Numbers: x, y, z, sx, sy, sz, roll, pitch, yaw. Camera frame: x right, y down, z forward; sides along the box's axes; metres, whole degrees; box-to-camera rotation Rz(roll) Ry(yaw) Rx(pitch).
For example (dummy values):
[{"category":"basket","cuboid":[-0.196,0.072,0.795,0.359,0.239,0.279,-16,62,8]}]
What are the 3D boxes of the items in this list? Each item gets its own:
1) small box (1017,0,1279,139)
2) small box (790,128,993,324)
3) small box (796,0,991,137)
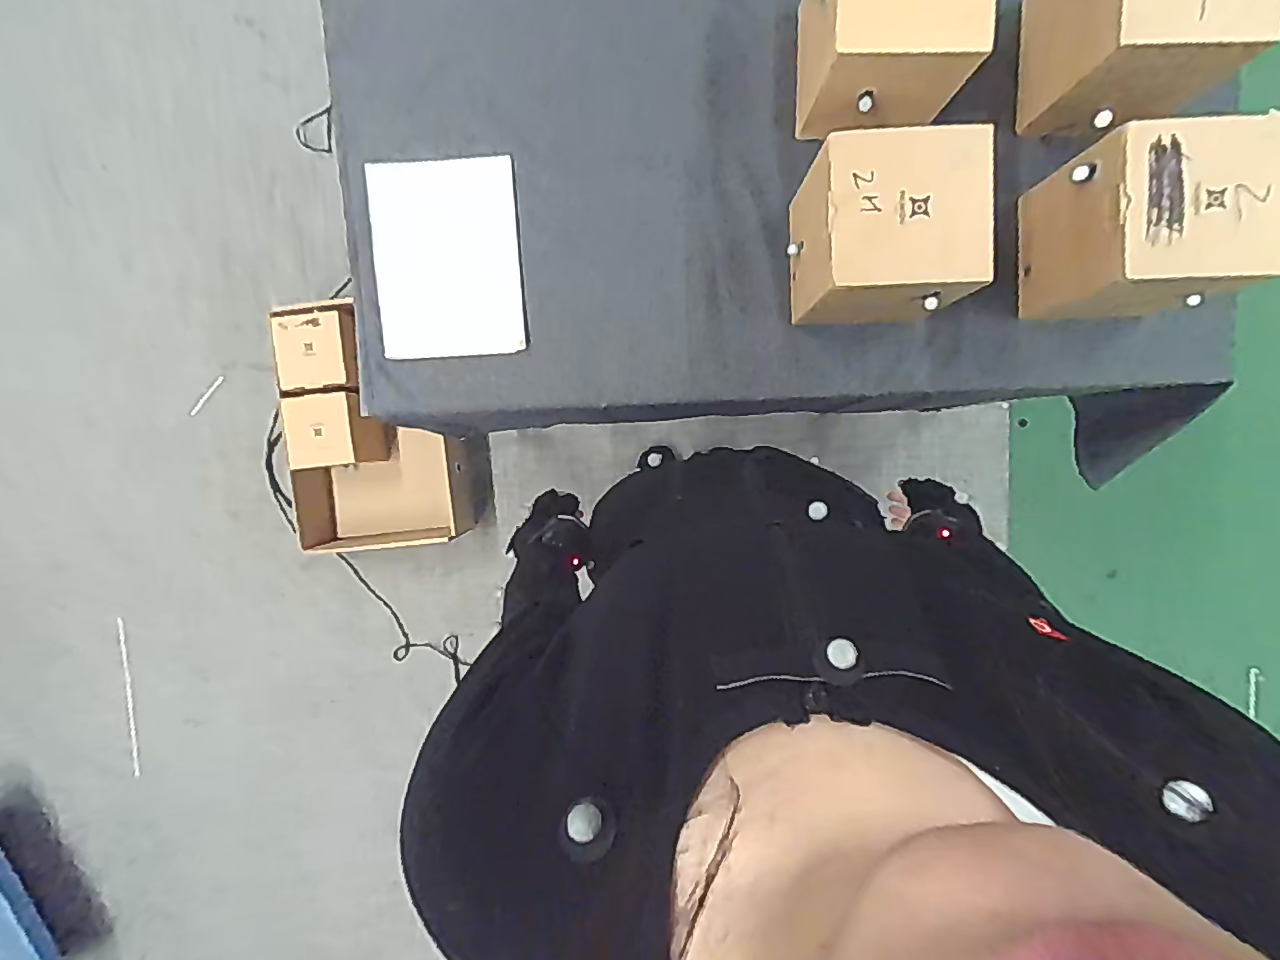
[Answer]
[{"category":"small box","cuboid":[0.580,-0.540,0.636,0.168,0.176,0.179,1,93,2]},{"category":"small box","cuboid":[0.290,-0.293,0.656,0.179,0.176,0.168,-1,92,2]},{"category":"small box","cuboid":[0.291,-0.538,0.648,0.168,0.176,0.179,1,93,2]}]
